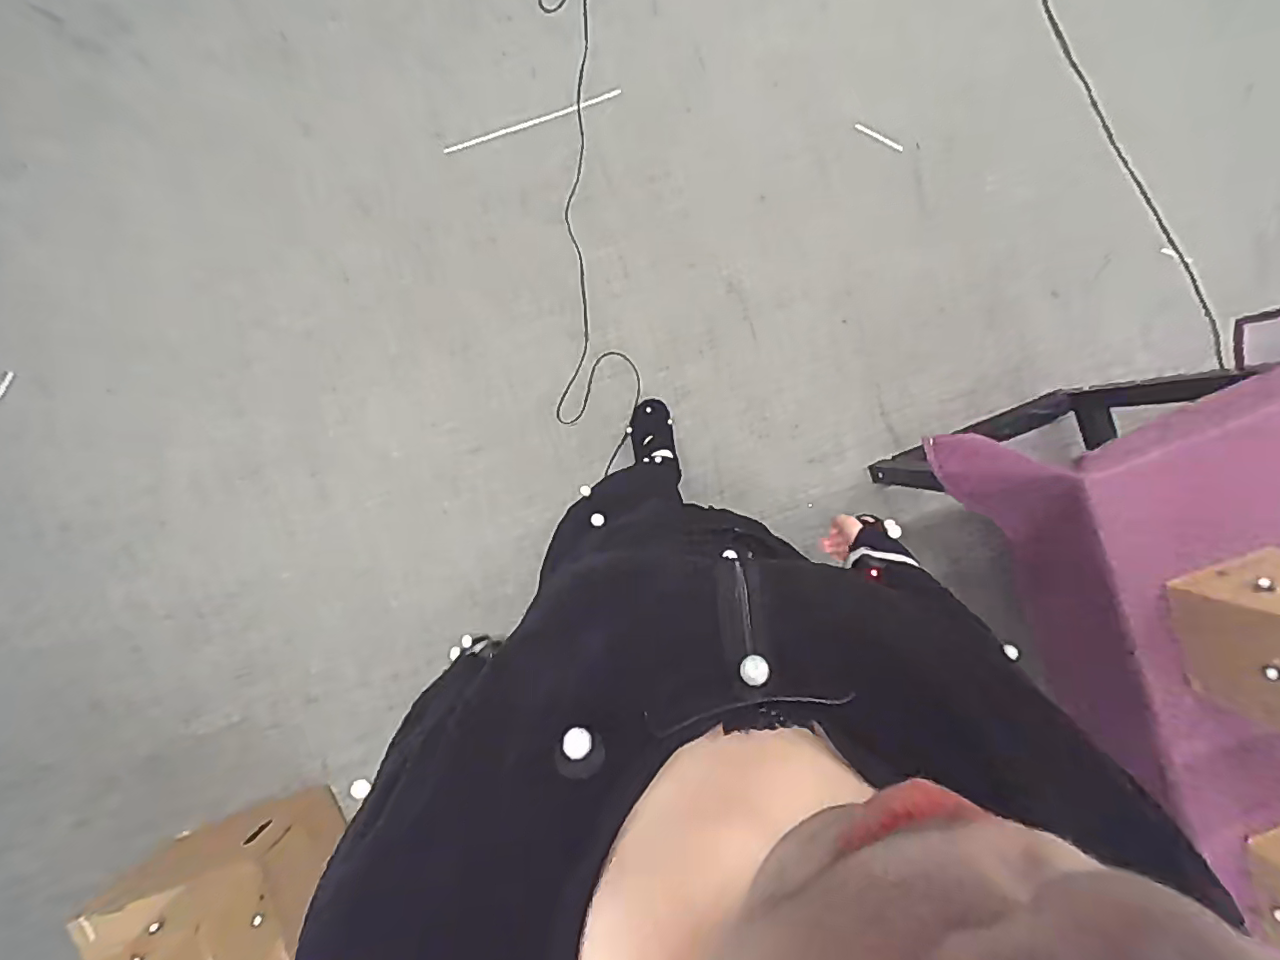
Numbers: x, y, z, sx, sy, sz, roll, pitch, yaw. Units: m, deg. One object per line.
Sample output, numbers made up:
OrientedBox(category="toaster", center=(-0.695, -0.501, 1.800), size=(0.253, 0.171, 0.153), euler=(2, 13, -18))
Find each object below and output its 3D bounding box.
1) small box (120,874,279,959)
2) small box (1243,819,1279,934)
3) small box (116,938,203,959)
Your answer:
OrientedBox(category="small box", center=(-0.912, 0.979, 1.131), size=(0.179, 0.176, 0.168), euler=(-16, 94, 0))
OrientedBox(category="small box", center=(1.013, 0.594, 0.745), size=(0.168, 0.176, 0.179), euler=(-19, 95, -1))
OrientedBox(category="small box", center=(-0.913, 0.988, 0.968), size=(0.168, 0.176, 0.179), euler=(-16, 93, 1))
